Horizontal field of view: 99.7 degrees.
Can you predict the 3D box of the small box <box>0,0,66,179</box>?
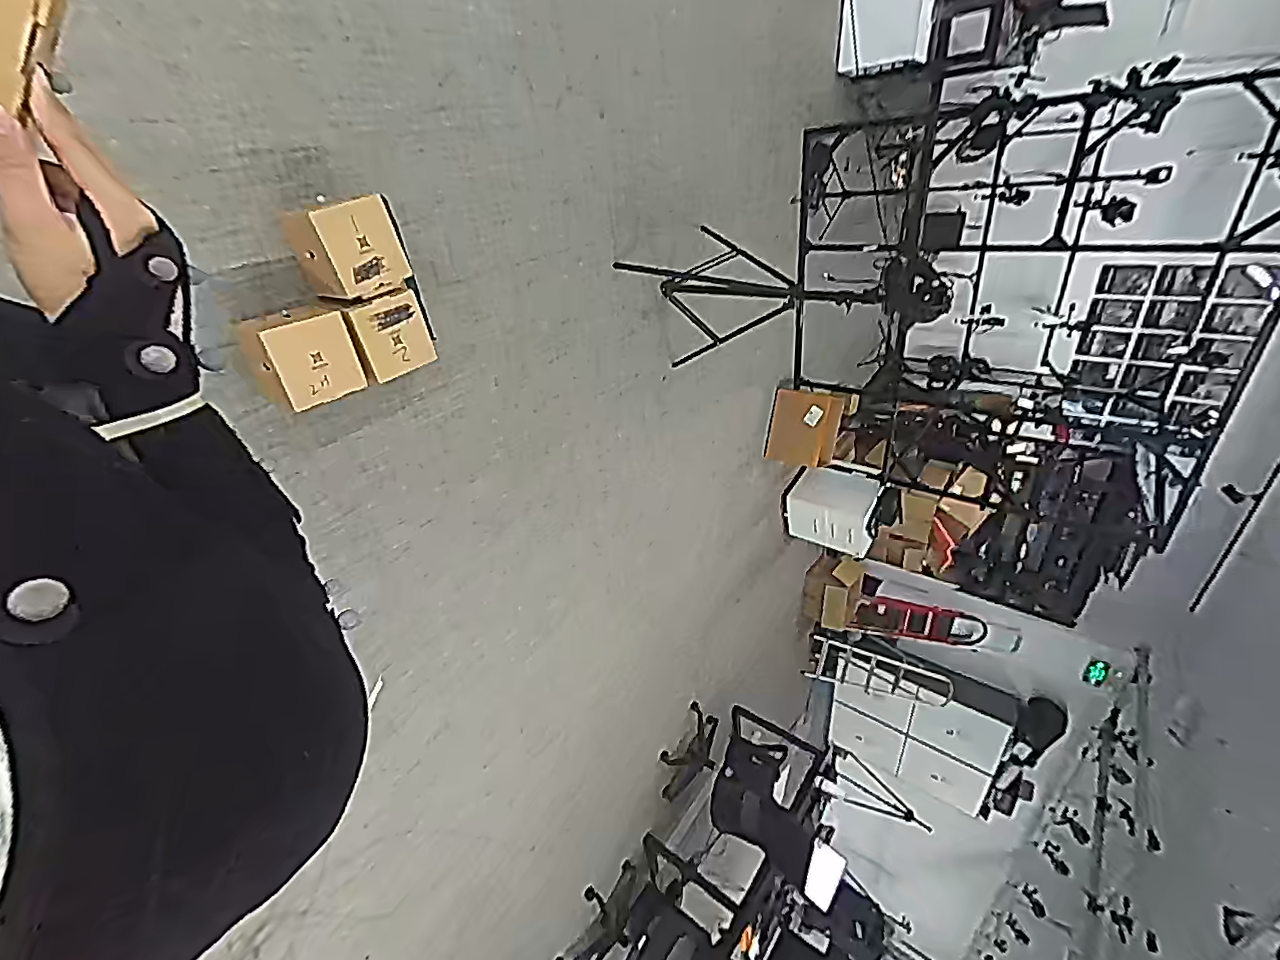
[{"bbox_3d":[-0.416,-0.278,0.265,0.179,0.176,0.168,12,91,-51],"label":"small box"}]
